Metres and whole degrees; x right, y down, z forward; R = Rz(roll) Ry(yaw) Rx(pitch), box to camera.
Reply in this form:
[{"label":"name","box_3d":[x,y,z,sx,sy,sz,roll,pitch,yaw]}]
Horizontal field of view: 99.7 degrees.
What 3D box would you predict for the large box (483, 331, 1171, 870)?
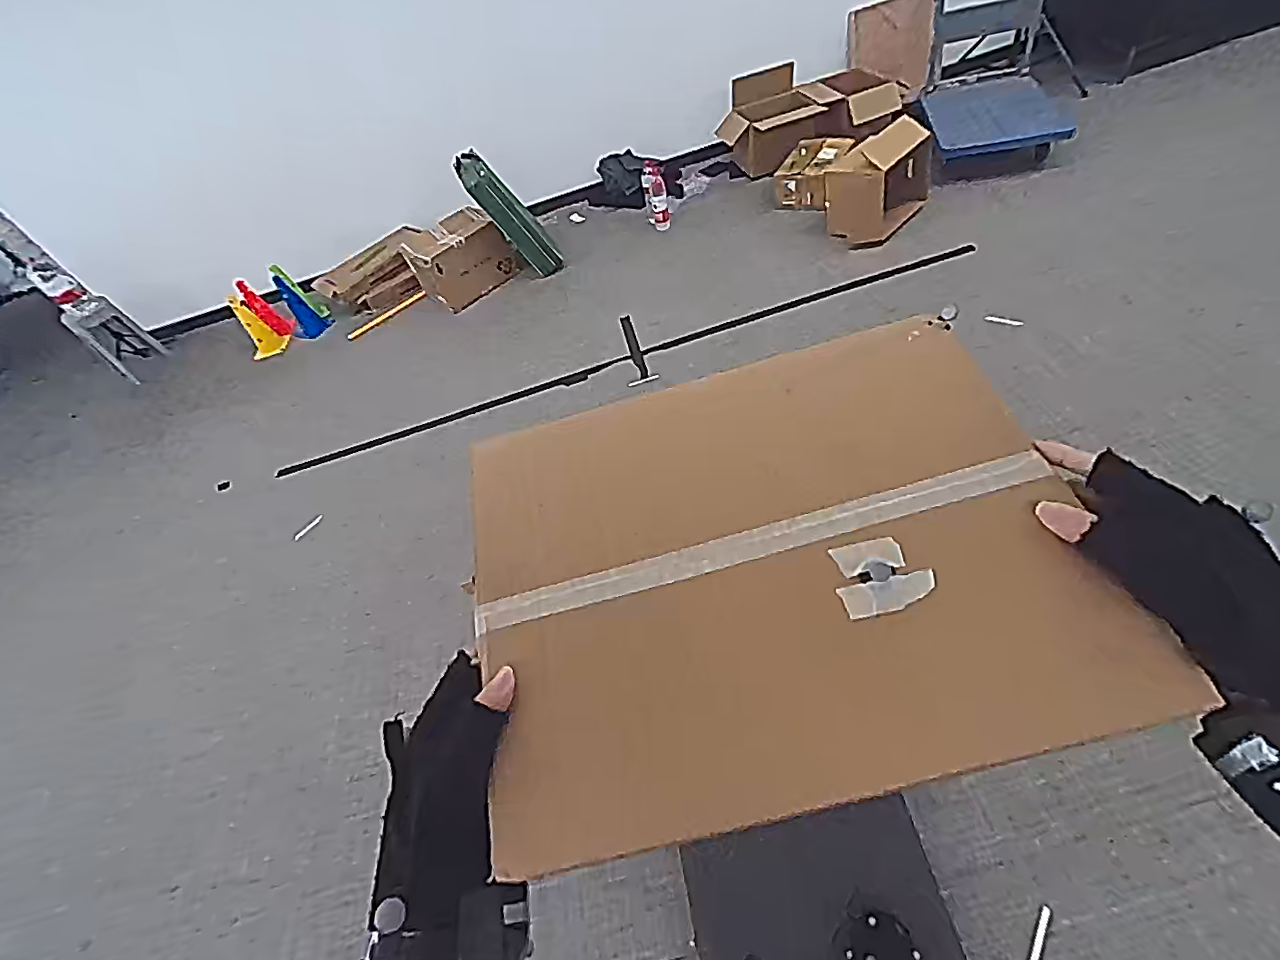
[{"label":"large box","box_3d":[0.108,0.126,0.518,0.408,0.320,0.320,-16,59,2]}]
